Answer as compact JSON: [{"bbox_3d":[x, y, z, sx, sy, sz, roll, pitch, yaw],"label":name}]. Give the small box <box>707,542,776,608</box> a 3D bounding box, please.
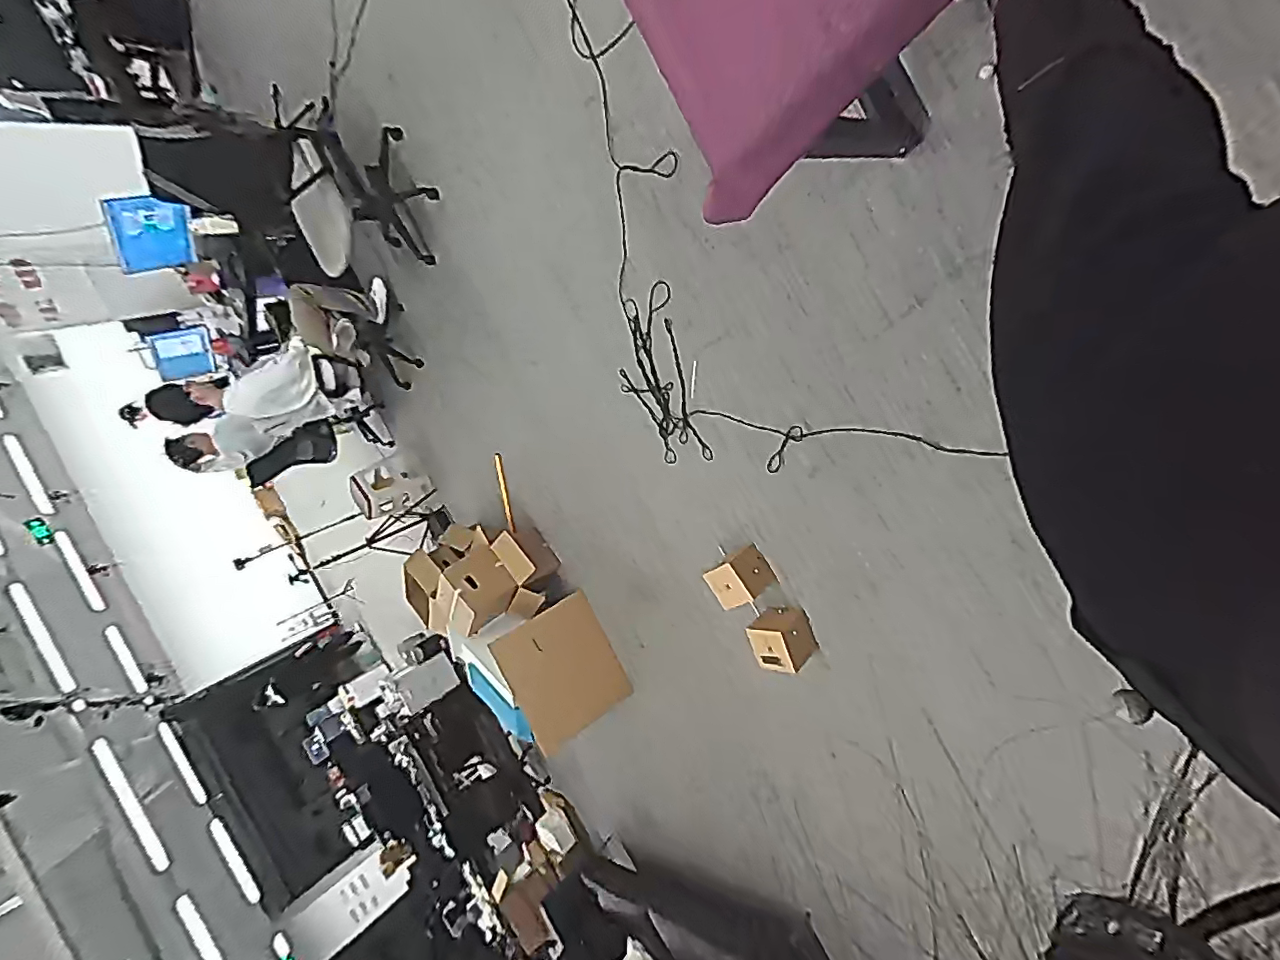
[{"bbox_3d":[0.400,0.364,2.091,0.168,0.176,0.179,57,142,6],"label":"small box"}]
